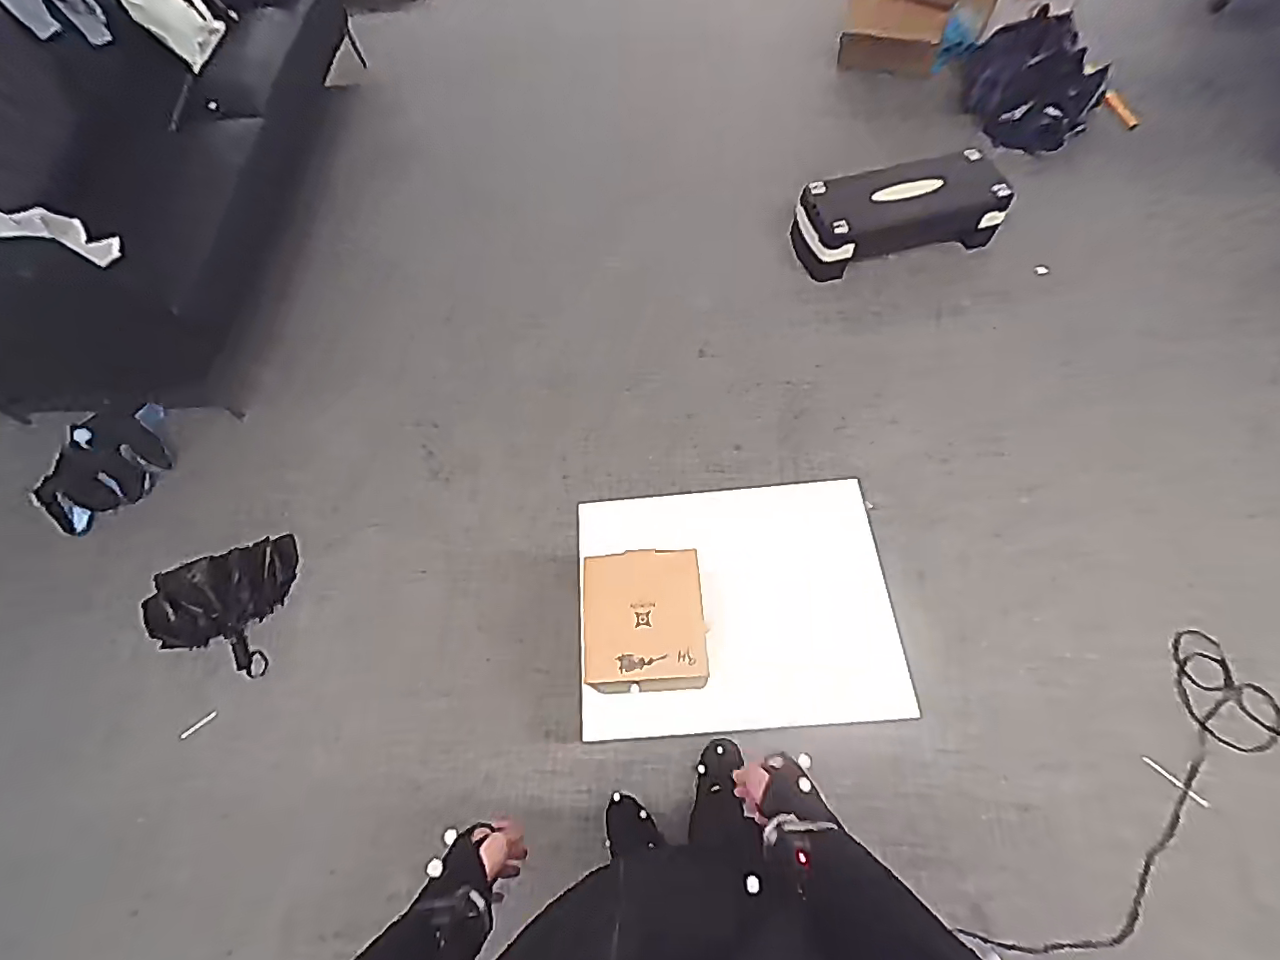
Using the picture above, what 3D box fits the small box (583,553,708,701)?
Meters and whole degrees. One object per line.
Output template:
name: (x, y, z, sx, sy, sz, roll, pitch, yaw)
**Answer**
small box: (0.007, 0.224, 0.810, 0.168, 0.176, 0.179, -5, 62, 1)
